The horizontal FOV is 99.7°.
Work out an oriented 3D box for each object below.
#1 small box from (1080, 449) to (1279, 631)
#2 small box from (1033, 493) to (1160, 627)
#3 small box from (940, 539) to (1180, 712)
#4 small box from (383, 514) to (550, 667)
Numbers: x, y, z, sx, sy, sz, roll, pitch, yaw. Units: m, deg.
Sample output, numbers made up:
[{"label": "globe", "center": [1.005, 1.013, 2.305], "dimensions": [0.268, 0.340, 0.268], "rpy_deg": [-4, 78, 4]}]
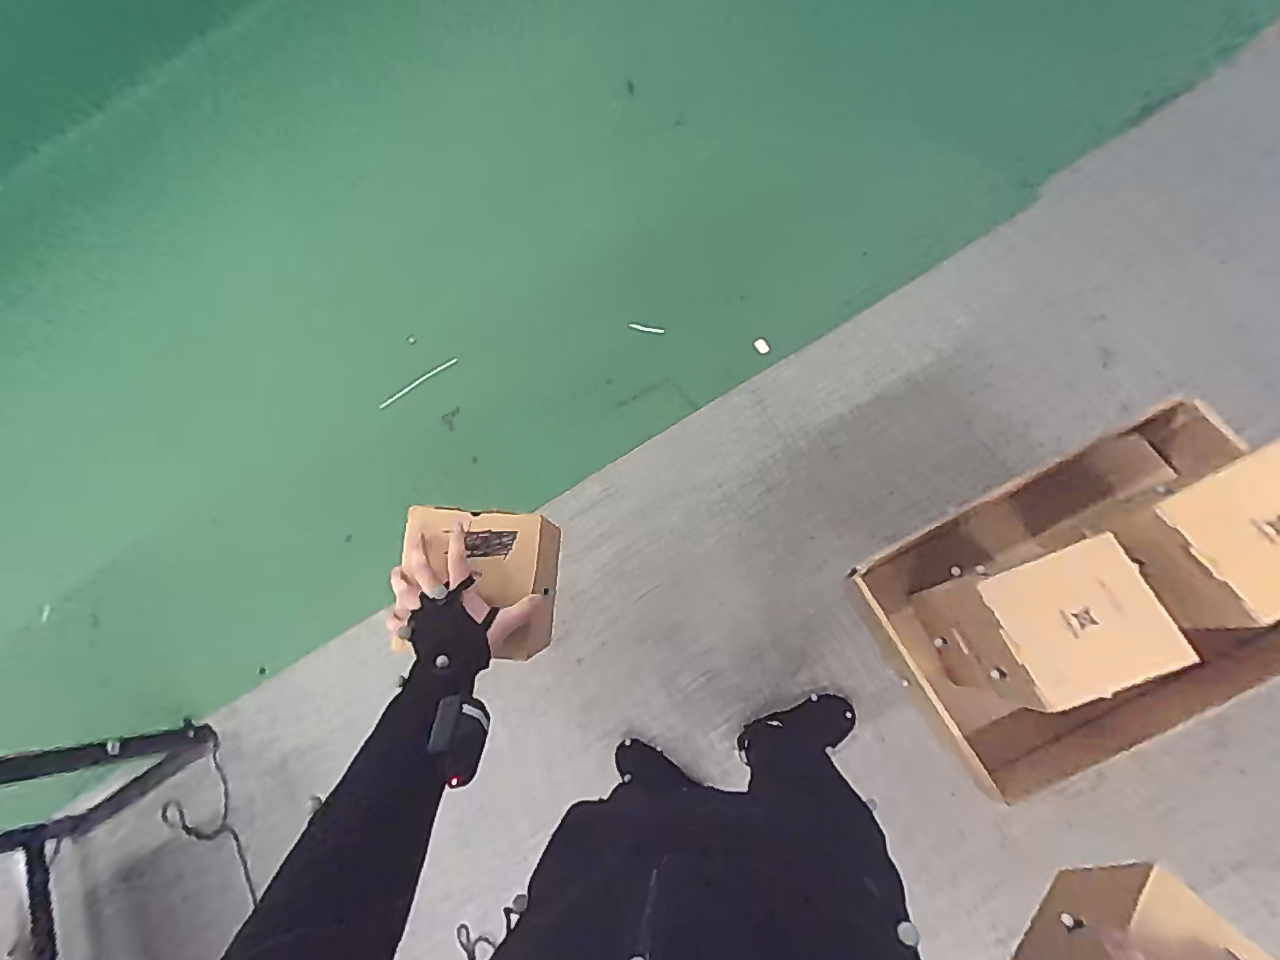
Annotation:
[{"label": "small box", "center": [0.761, 0.087, 0.727], "dimensions": [0.179, 0.176, 0.168], "rpy_deg": [-30, 71, 5]}, {"label": "small box", "center": [0.799, 0.129, 0.878], "dimensions": [0.179, 0.176, 0.168], "rpy_deg": [-29, 69, 3]}, {"label": "small box", "center": [0.542, 0.199, 0.739], "dimensions": [0.179, 0.176, 0.168], "rpy_deg": [-22, 71, 4]}, {"label": "small box", "center": [-0.219, 0.148, 0.733], "dimensions": [0.168, 0.176, 0.179], "rpy_deg": [3, 79, 1]}]
